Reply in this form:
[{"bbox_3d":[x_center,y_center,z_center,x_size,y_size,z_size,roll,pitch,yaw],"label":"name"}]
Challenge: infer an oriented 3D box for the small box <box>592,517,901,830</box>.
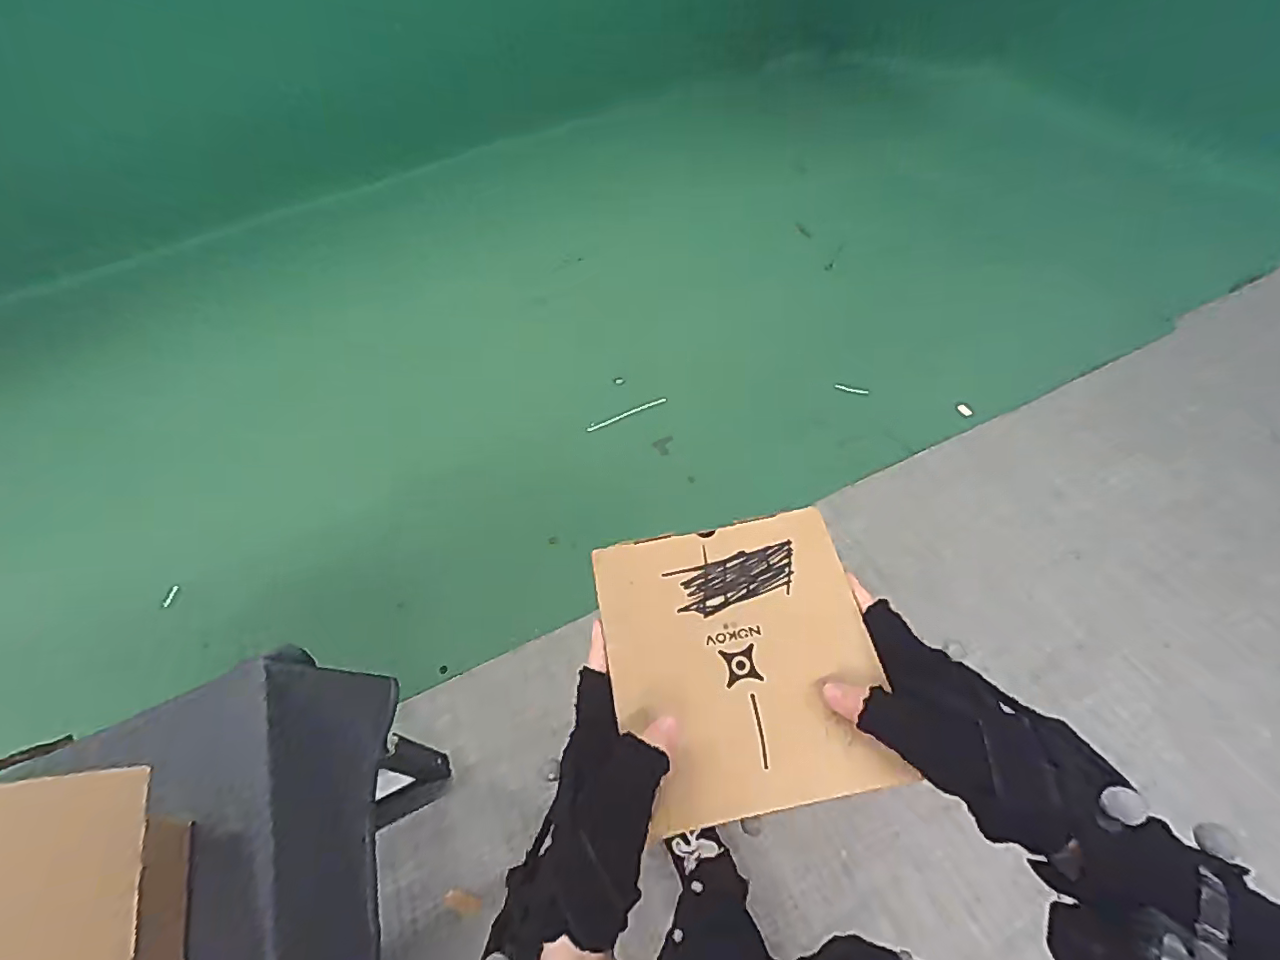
[{"bbox_3d":[0.059,0.152,0.417,0.168,0.176,0.179,-9,60,-3],"label":"small box"}]
